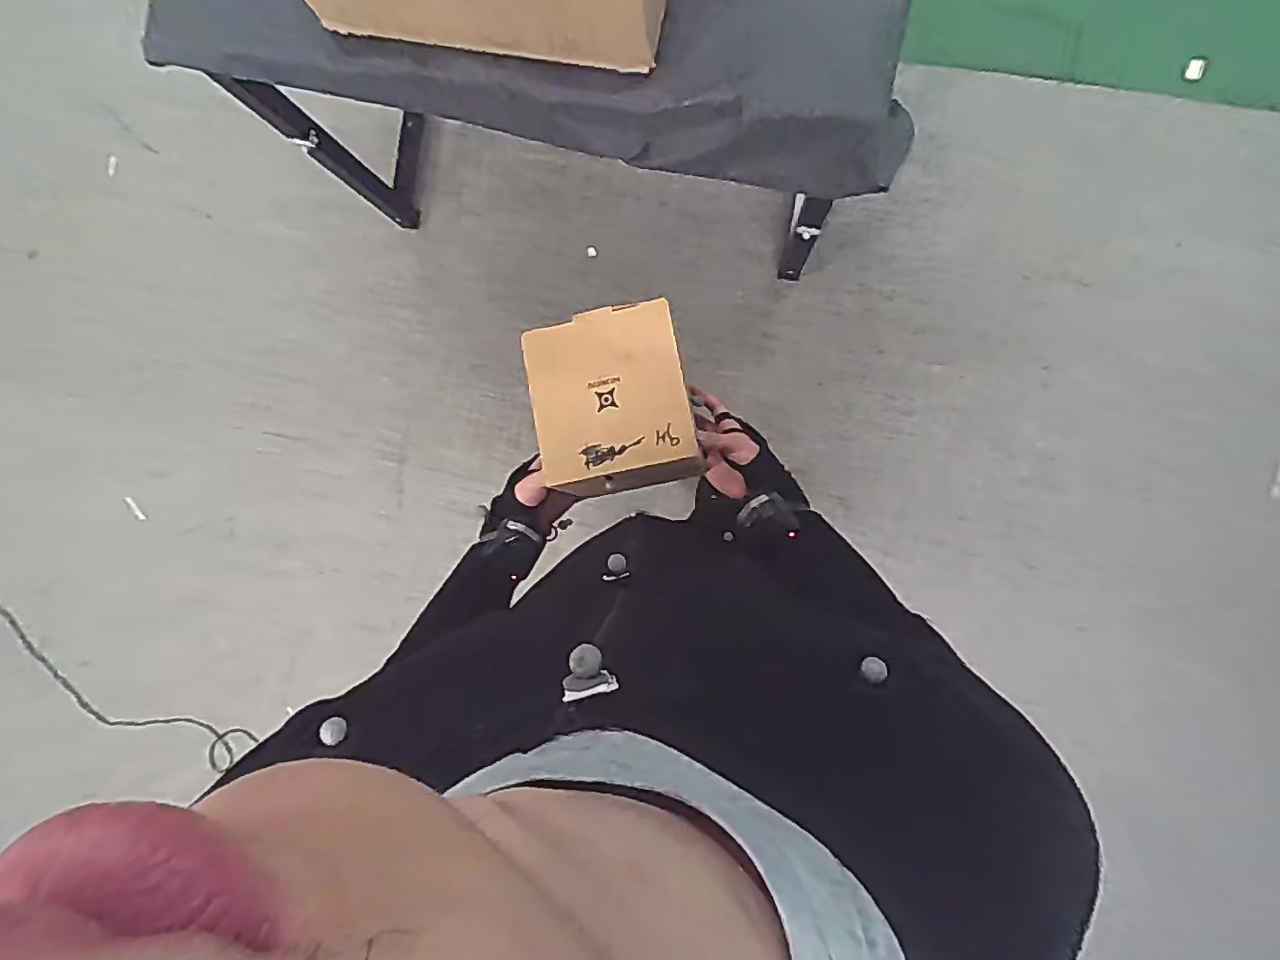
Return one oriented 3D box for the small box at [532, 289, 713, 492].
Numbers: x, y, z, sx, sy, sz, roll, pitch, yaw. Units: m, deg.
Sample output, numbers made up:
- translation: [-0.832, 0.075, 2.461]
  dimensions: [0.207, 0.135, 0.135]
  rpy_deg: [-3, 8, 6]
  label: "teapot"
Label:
- translation: [-0.012, -0.092, 0.642]
  dimensions: [0.168, 0.176, 0.179]
  rpy_deg: [-13, 82, 8]
  label: "small box"
